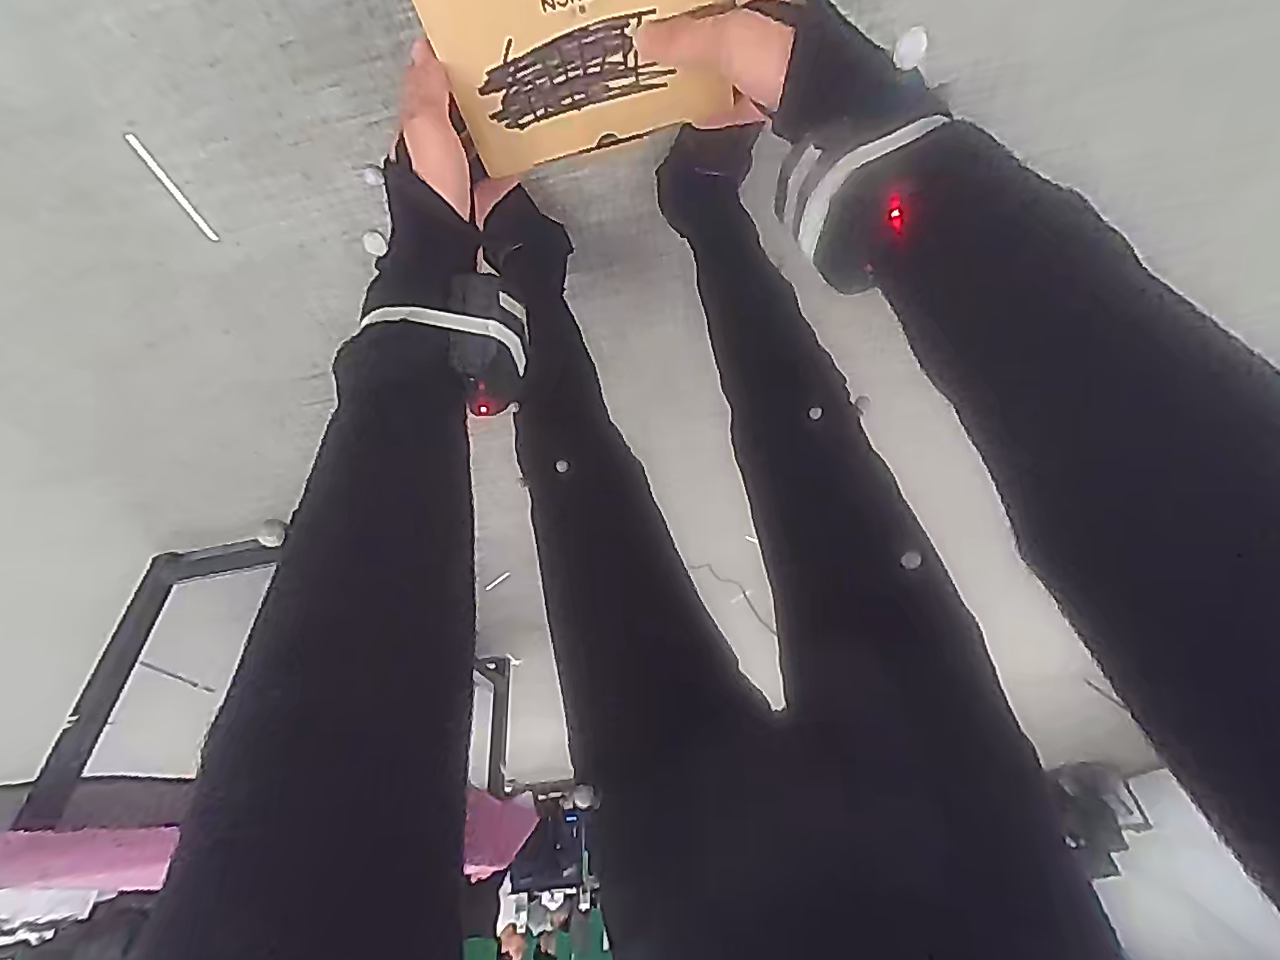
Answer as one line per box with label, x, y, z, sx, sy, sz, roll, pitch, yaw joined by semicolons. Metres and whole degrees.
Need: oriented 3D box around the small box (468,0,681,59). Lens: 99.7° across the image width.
small box;-0.064;-0.467;0.416;0.168;0.176;0.179;-9;144;1
